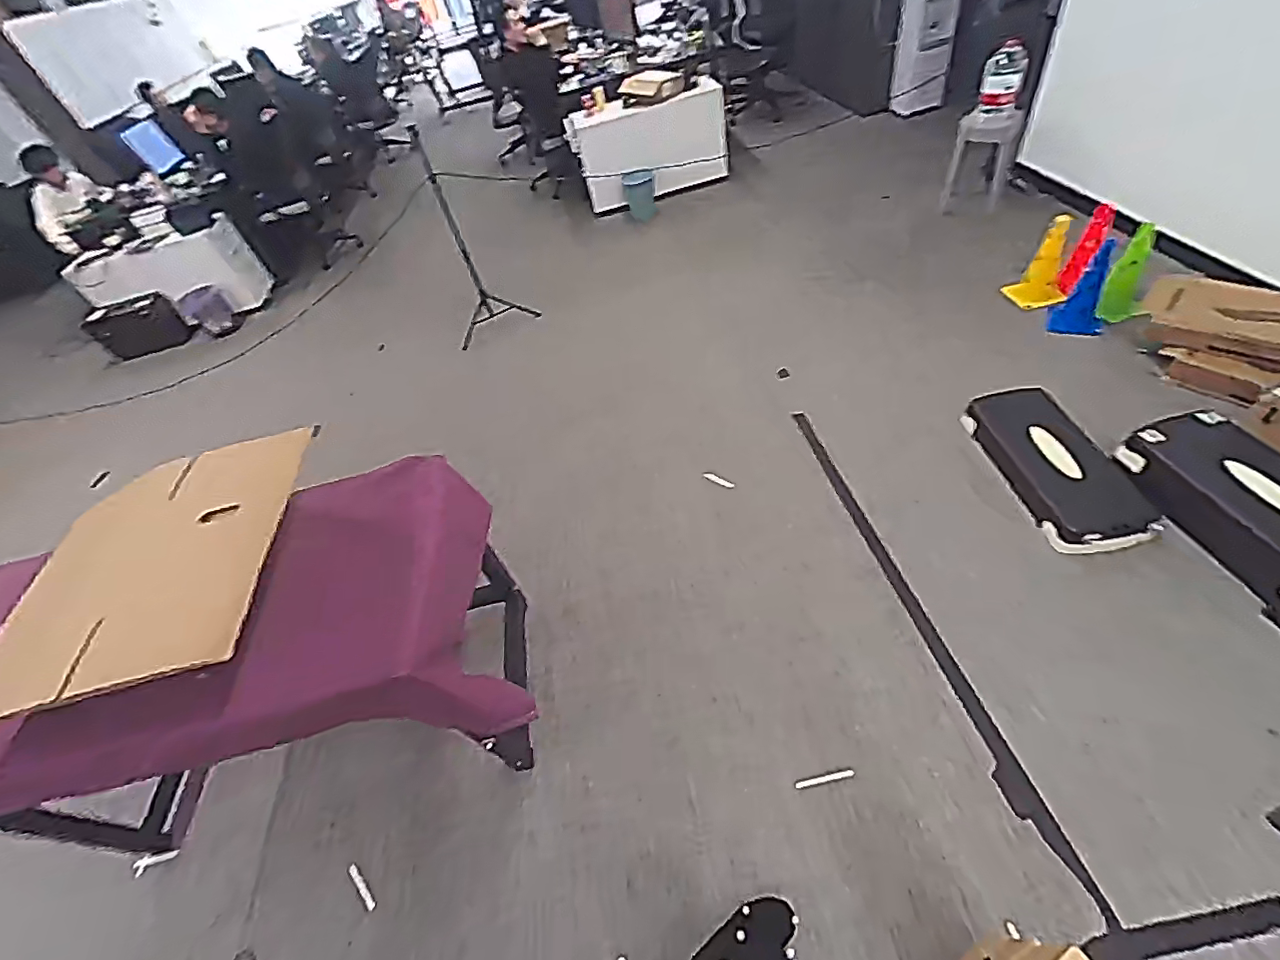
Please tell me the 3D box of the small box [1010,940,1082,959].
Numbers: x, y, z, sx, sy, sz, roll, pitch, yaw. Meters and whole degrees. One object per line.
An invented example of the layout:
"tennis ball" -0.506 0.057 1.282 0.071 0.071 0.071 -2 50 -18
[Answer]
"small box" 0.610 0.819 0.786 0.179 0.176 0.168 -30 49 -12
